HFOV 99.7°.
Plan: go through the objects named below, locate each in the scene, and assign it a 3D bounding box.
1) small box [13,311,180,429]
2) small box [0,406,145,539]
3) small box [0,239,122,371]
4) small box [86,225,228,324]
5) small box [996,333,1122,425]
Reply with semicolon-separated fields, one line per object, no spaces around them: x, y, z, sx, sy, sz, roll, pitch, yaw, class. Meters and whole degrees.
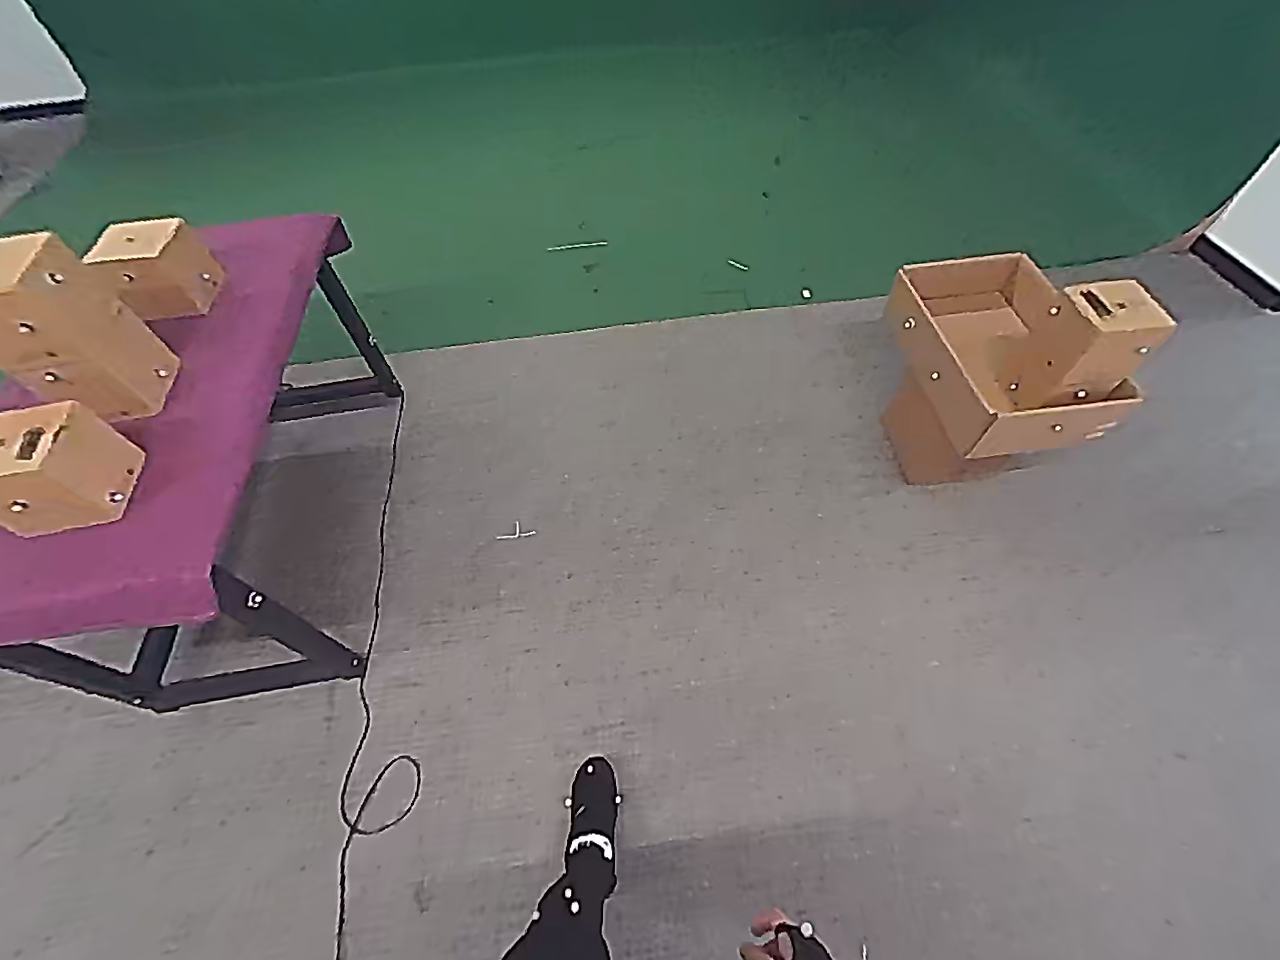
-1.152;-0.234;1.168;0.168;0.176;0.179;-11;55;-5;small box
-1.092;-0.010;1.007;0.179;0.176;0.168;-12;55;-4;small box
-1.158;-0.326;1.032;0.168;0.176;0.179;-11;56;-6;small box
-1.206;-0.513;1.365;0.179;0.176;0.168;-6;56;-1;small box
1.107;-0.266;1.445;0.179;0.176;0.168;-7;56;-1;small box
